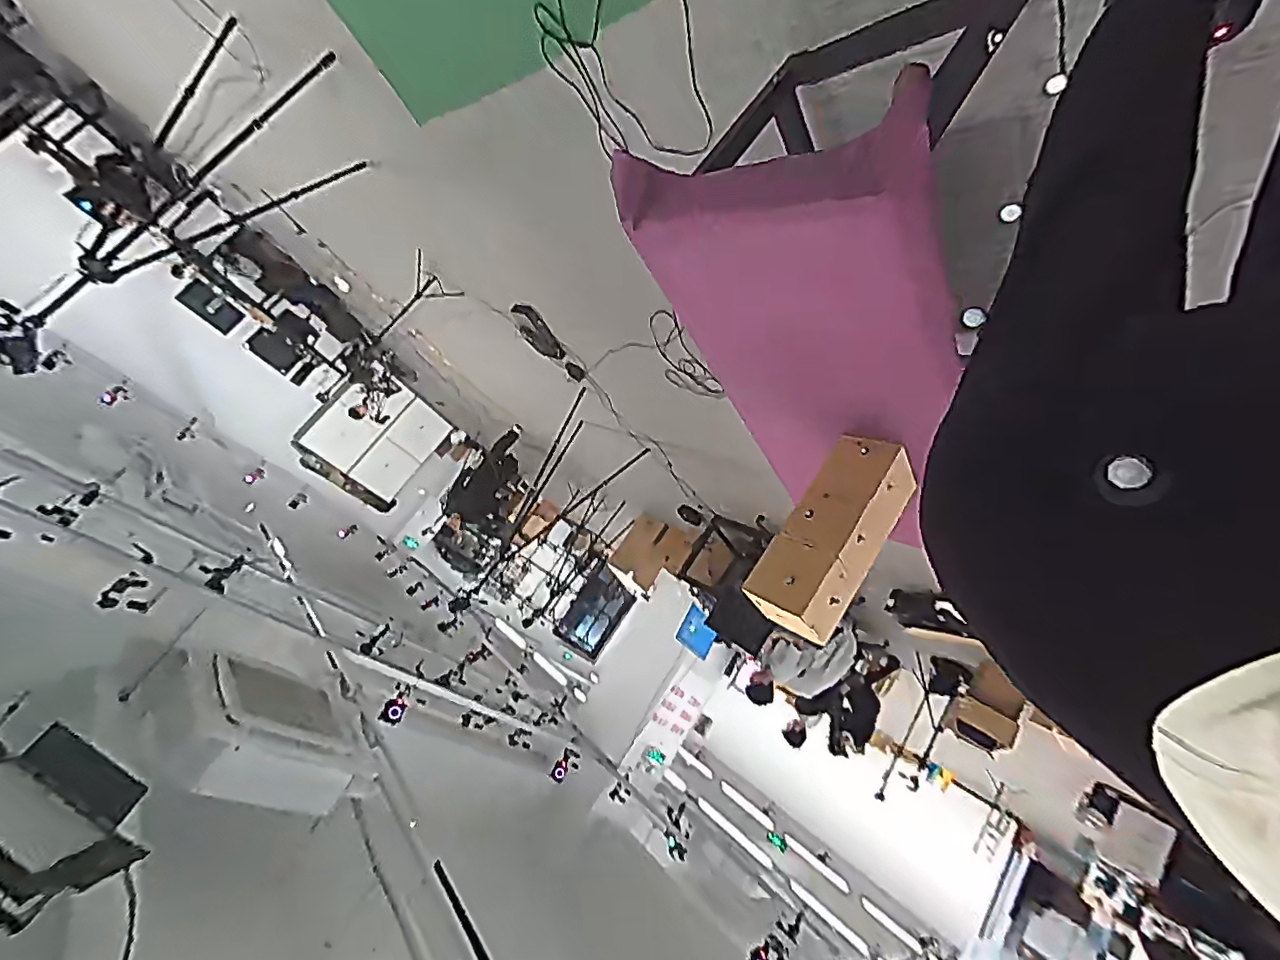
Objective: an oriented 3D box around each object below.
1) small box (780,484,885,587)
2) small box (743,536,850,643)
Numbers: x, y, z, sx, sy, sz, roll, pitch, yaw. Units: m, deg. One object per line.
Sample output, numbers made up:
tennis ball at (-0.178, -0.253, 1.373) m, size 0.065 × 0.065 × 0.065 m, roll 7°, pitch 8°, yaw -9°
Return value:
small box at (0.484, 0.133, 1.350) m, size 0.168 × 0.176 × 0.179 m, roll 20°, pitch 159°, yaw 47°
small box at (0.387, 0.259, 1.313) m, size 0.179 × 0.176 × 0.168 m, roll 19°, pitch 157°, yaw 48°
